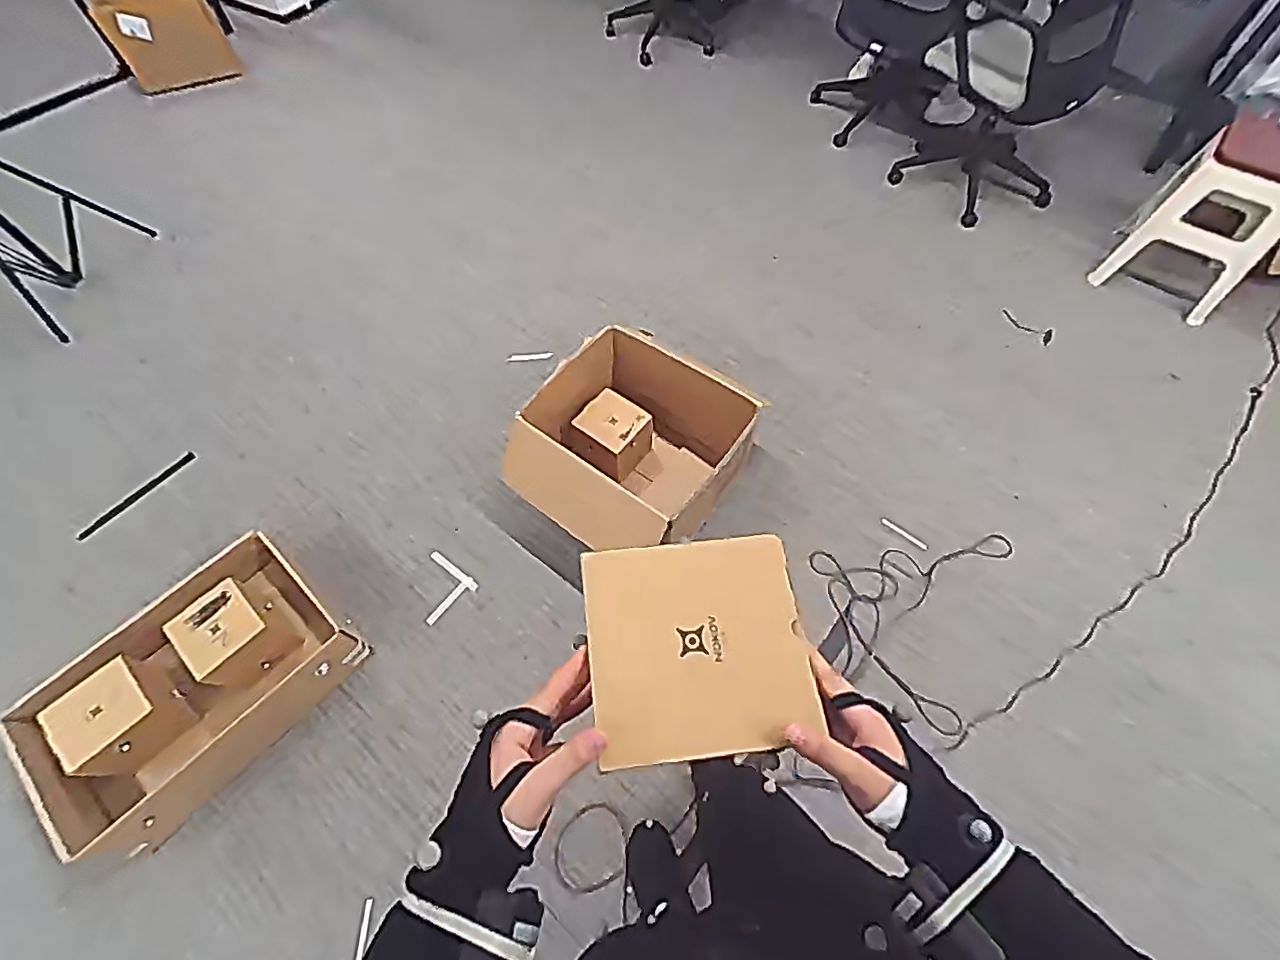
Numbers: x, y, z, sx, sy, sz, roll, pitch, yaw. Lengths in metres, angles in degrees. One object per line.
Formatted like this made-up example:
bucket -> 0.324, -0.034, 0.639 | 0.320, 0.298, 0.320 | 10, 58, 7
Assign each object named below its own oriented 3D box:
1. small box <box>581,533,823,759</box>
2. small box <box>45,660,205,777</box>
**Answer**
small box -> 0.041, 0.163, 0.510 | 0.179, 0.176, 0.168 | -5, 64, -7
small box -> -1.156, 0.544, 1.227 | 0.168, 0.176, 0.179 | 40, 67, 18
